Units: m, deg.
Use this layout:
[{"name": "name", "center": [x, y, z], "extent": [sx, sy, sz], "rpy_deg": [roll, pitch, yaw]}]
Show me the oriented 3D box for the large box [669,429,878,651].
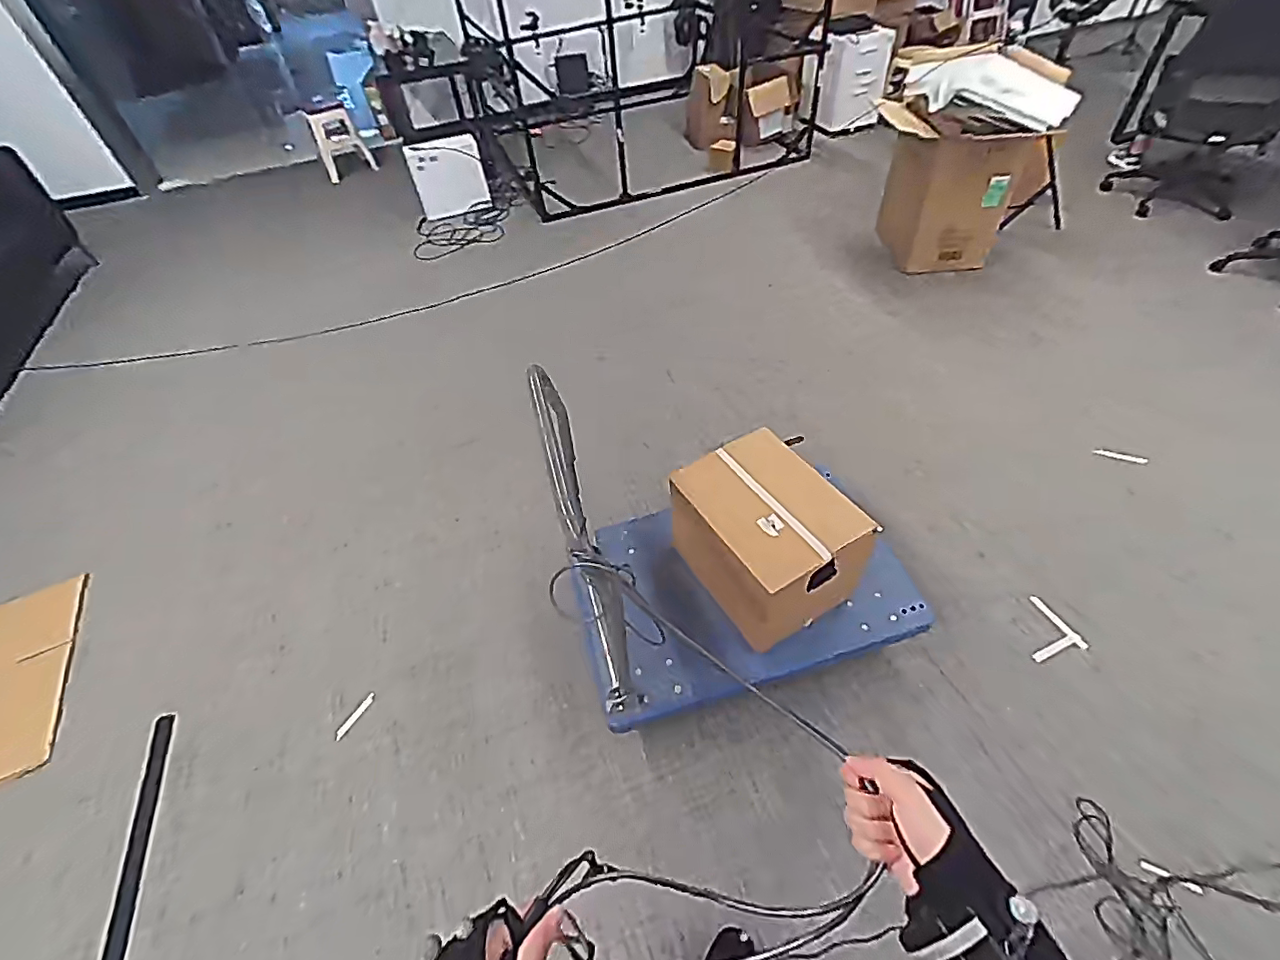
[{"name": "large box", "center": [0.311, 0.146, 1.386], "extent": [0.320, 0.320, 0.408], "rpy_deg": [-27, 53, -16]}]
